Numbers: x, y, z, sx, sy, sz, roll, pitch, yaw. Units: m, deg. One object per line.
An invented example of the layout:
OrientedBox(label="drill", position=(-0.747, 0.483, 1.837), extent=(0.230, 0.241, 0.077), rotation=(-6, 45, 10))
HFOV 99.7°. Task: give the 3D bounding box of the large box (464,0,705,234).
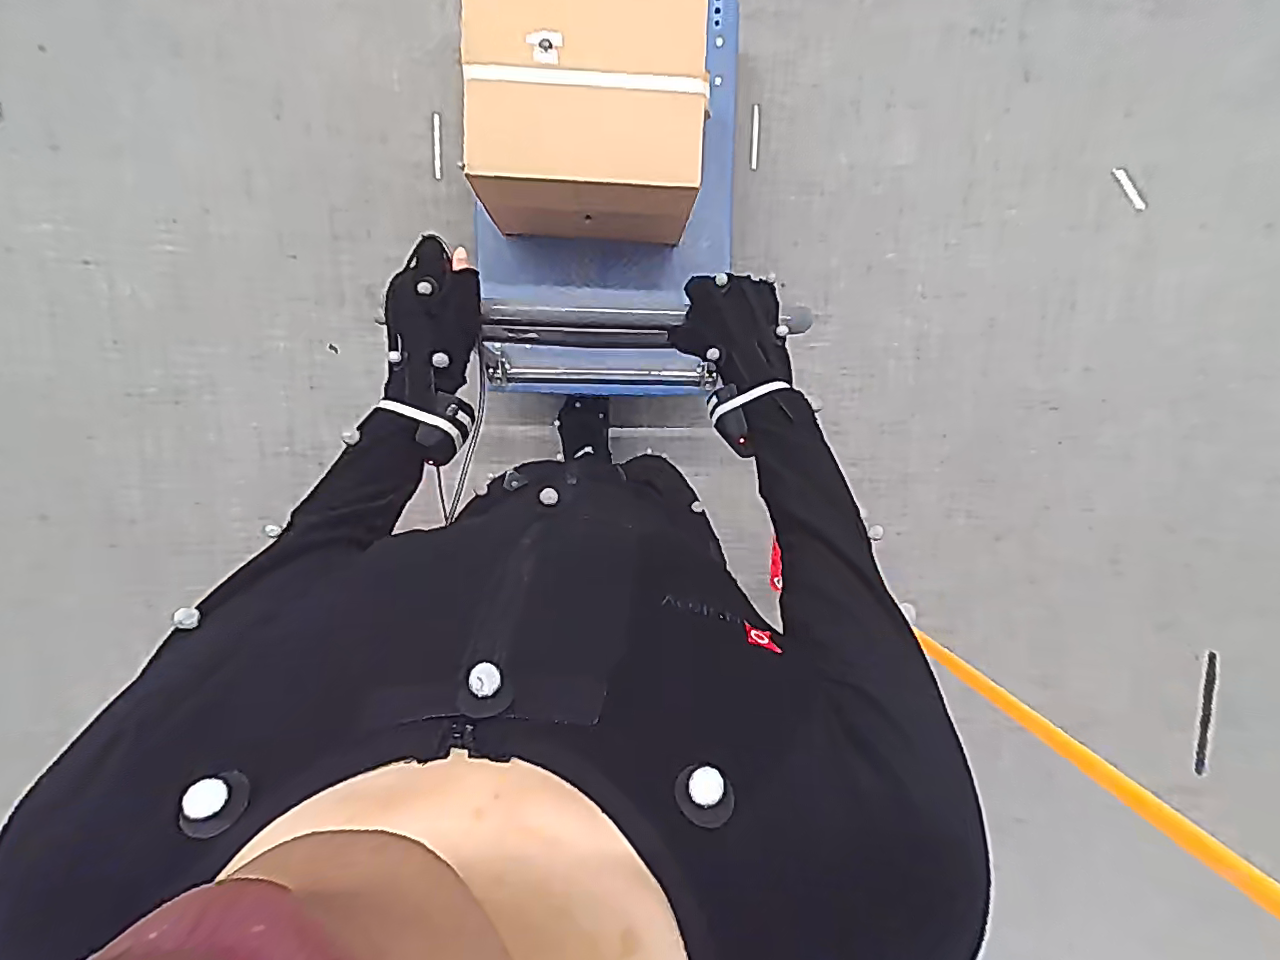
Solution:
OrientedBox(label="large box", position=(-0.096, -0.688, 1.051), extent=(0.408, 0.320, 0.320), rotation=(2, 97, -2))

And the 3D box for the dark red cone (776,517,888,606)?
OrientedBox(label="dark red cone", position=(0.485, 0.223, 1.318), extent=(0.201, 0.394, 0.202), rotation=(0, 97, -5))
